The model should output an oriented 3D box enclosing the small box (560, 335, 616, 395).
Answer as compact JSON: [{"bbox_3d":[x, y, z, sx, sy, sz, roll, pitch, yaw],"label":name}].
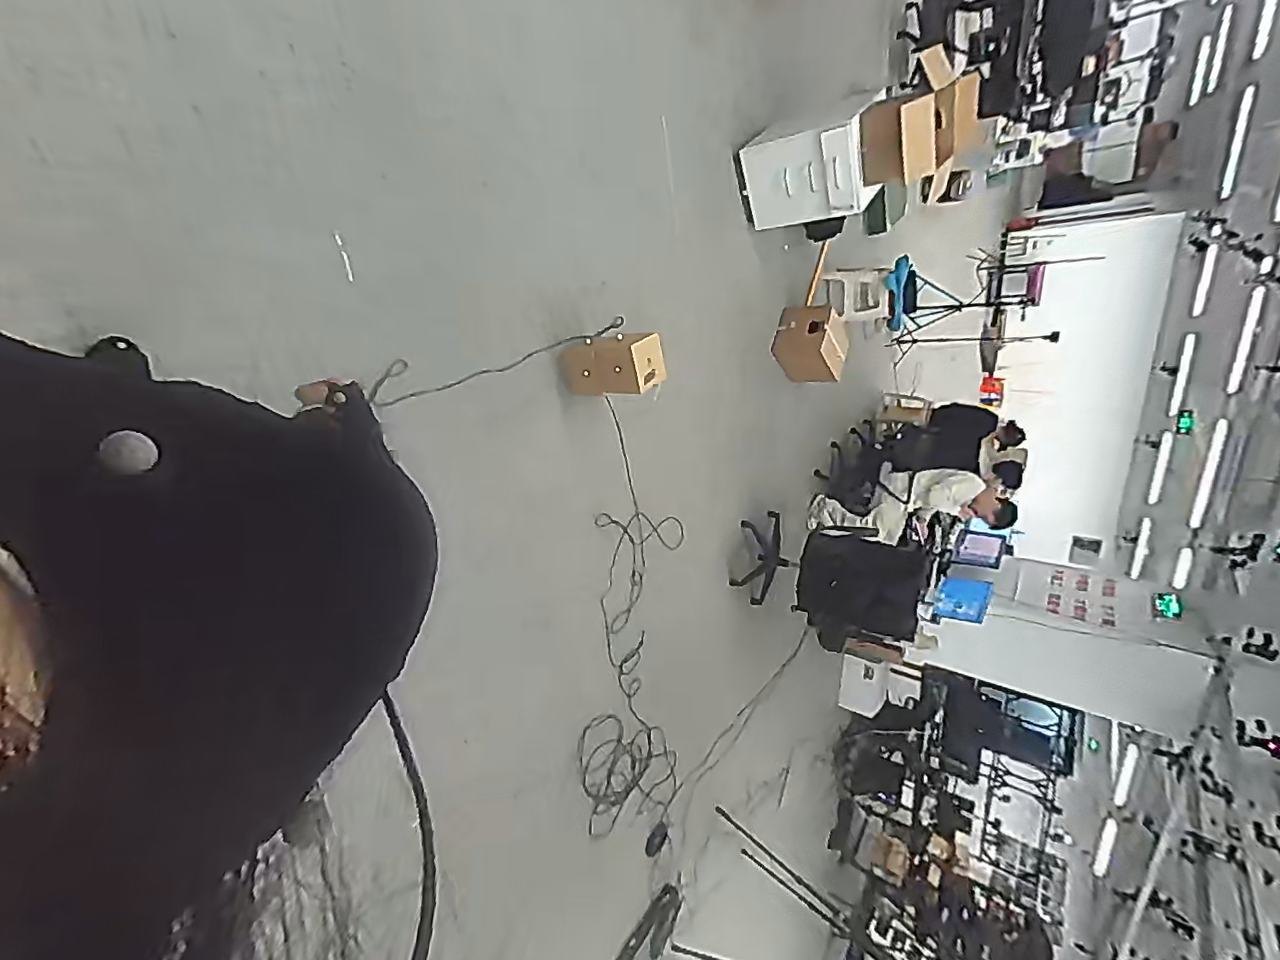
[{"bbox_3d":[-0.172,-0.427,2.022,0.168,0.176,0.179,-42,128,-39],"label":"small box"}]

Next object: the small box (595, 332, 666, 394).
[{"bbox_3d":[-0.035,-0.419,1.932,0.168,0.176,0.179,-39,125,-42],"label":"small box"}]
